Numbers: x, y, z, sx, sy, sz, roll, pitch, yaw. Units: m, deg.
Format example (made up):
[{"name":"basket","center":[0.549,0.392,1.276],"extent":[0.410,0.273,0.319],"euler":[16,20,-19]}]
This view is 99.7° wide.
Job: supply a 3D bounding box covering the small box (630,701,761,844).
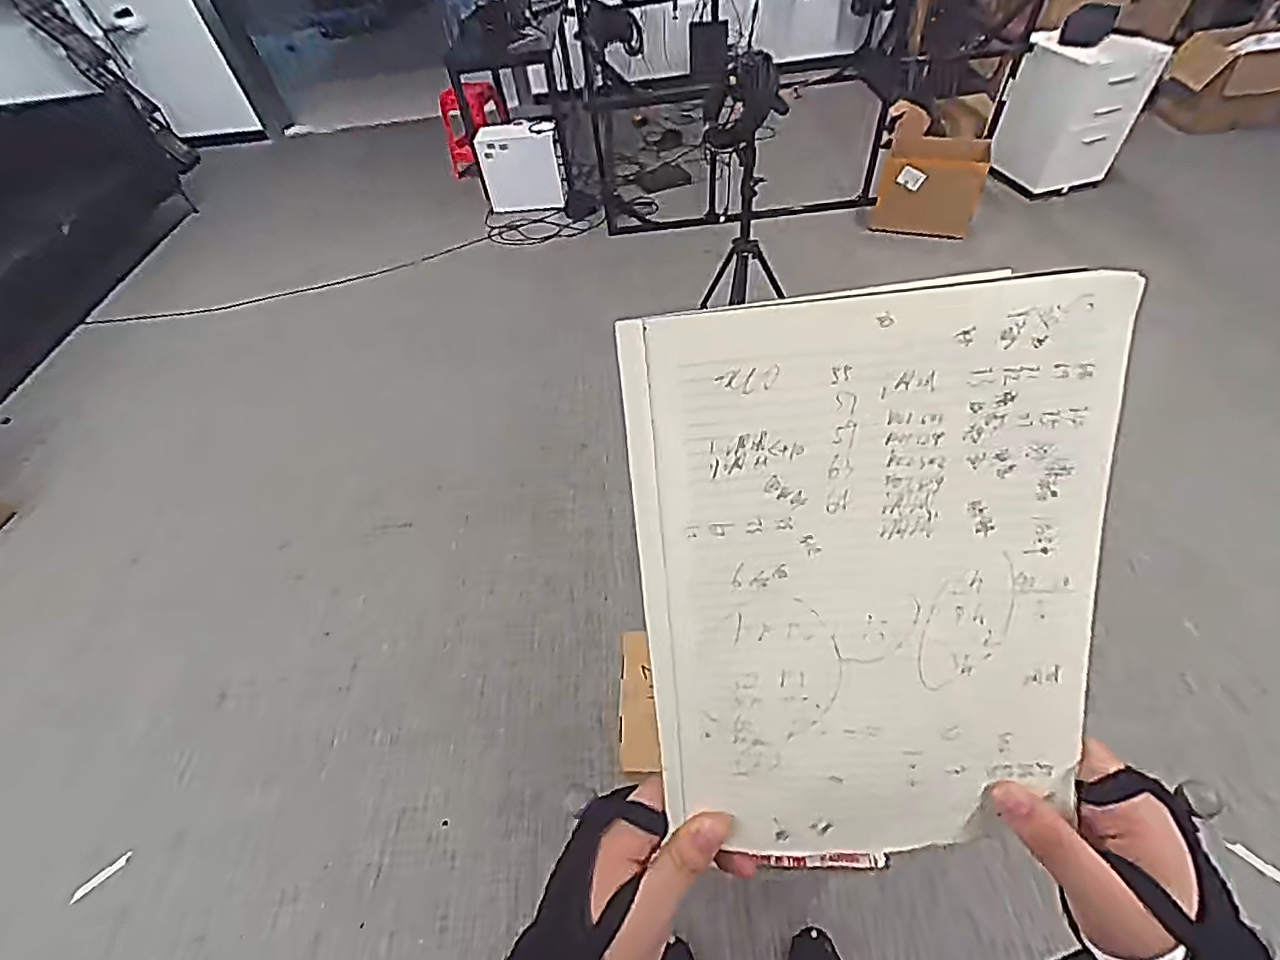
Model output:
[{"name":"small box","center":[0.088,0.452,0.831],"extent":[0.179,0.176,0.168],"euler":[0,53,9]}]
